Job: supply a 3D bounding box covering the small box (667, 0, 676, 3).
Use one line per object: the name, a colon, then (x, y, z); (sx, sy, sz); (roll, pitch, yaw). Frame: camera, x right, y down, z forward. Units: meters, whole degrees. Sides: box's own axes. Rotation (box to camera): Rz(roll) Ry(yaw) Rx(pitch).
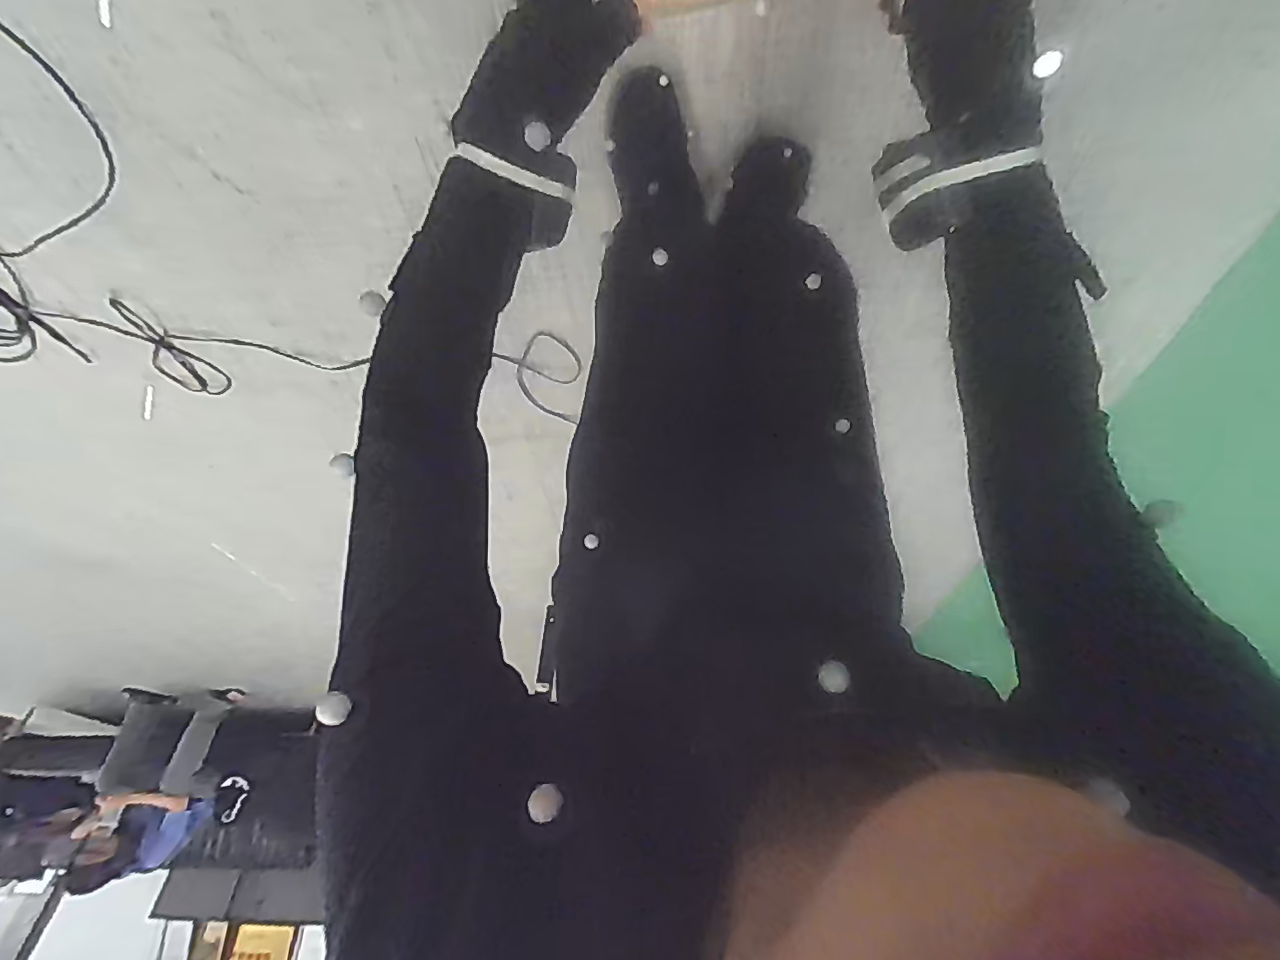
small box: (0.067, -0.429, 0.332); (0.168, 0.176, 0.179); (-4, 128, 11)
